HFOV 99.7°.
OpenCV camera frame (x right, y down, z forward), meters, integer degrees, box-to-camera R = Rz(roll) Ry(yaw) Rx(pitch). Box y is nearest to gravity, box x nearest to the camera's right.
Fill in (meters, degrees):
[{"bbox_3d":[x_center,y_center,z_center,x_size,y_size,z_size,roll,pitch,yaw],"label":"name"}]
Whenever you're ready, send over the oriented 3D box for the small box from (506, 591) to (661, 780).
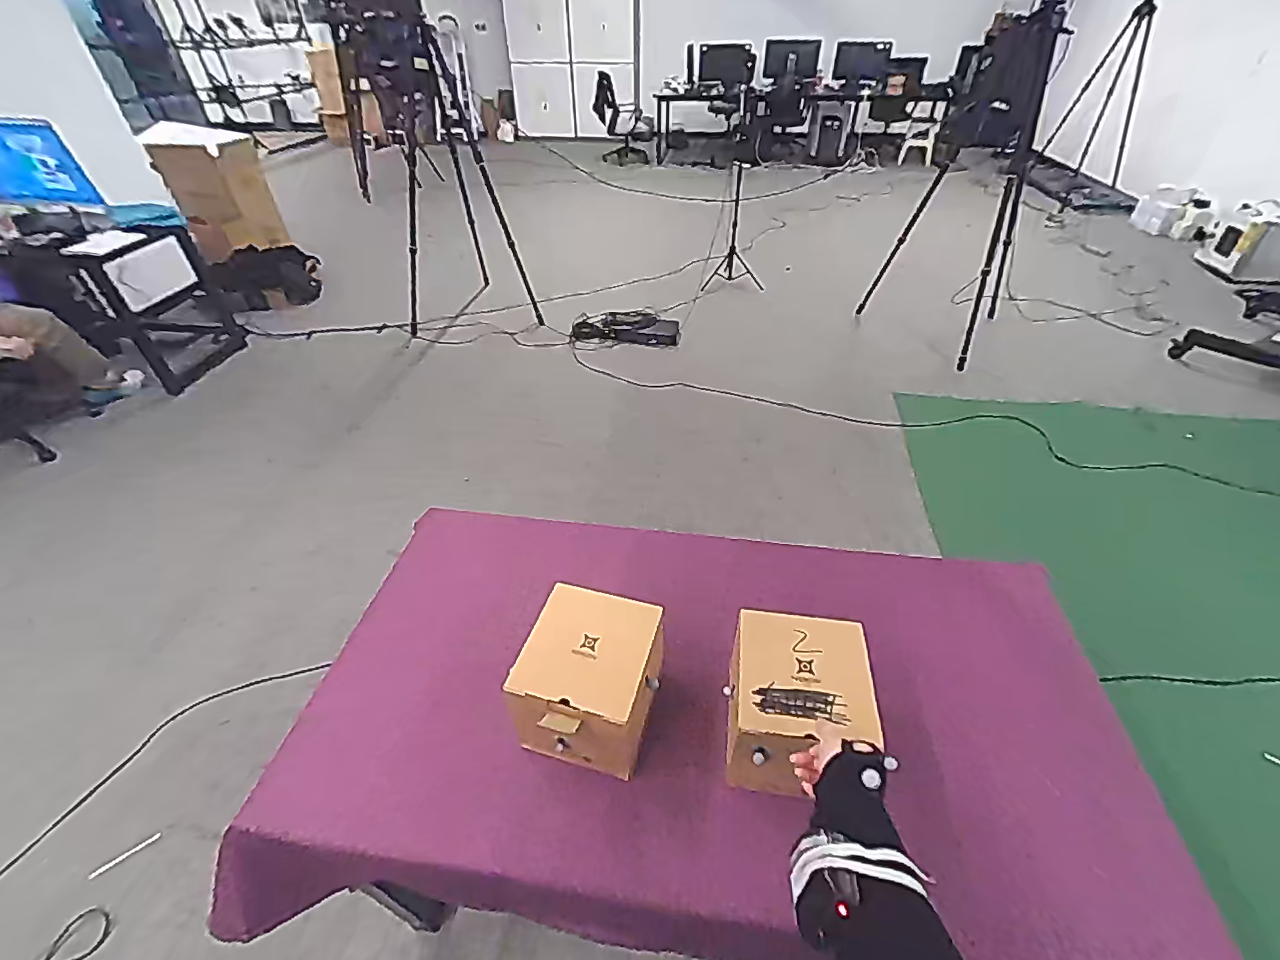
[{"bbox_3d":[-0.072,0.295,0.784,0.168,0.176,0.179,11,43,13],"label":"small box"}]
